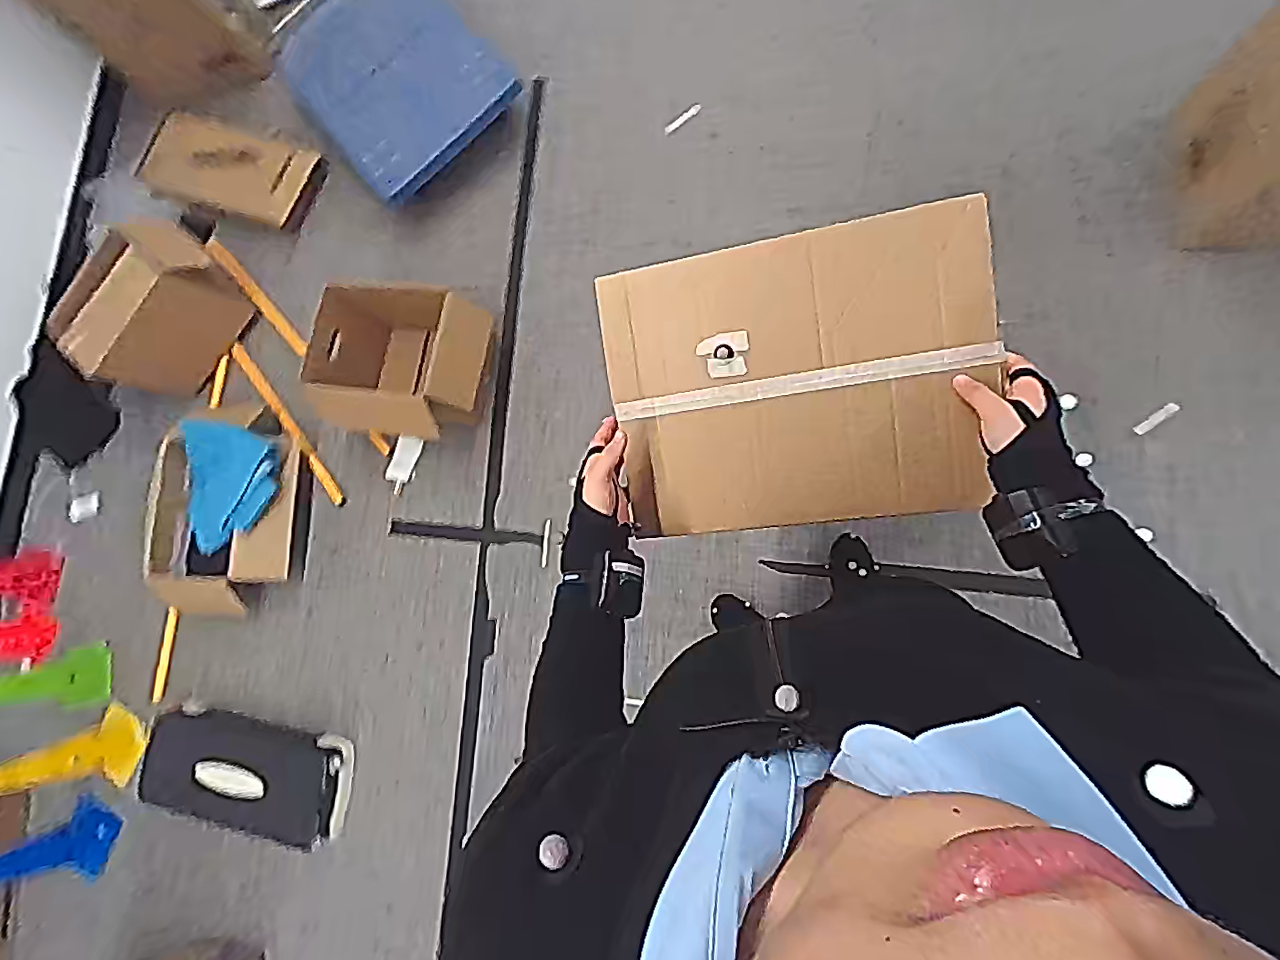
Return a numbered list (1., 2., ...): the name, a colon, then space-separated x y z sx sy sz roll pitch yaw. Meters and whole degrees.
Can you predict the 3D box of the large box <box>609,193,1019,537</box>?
1. large box: 0.213 -0.126 0.726 0.408 0.320 0.320 -6 96 16
